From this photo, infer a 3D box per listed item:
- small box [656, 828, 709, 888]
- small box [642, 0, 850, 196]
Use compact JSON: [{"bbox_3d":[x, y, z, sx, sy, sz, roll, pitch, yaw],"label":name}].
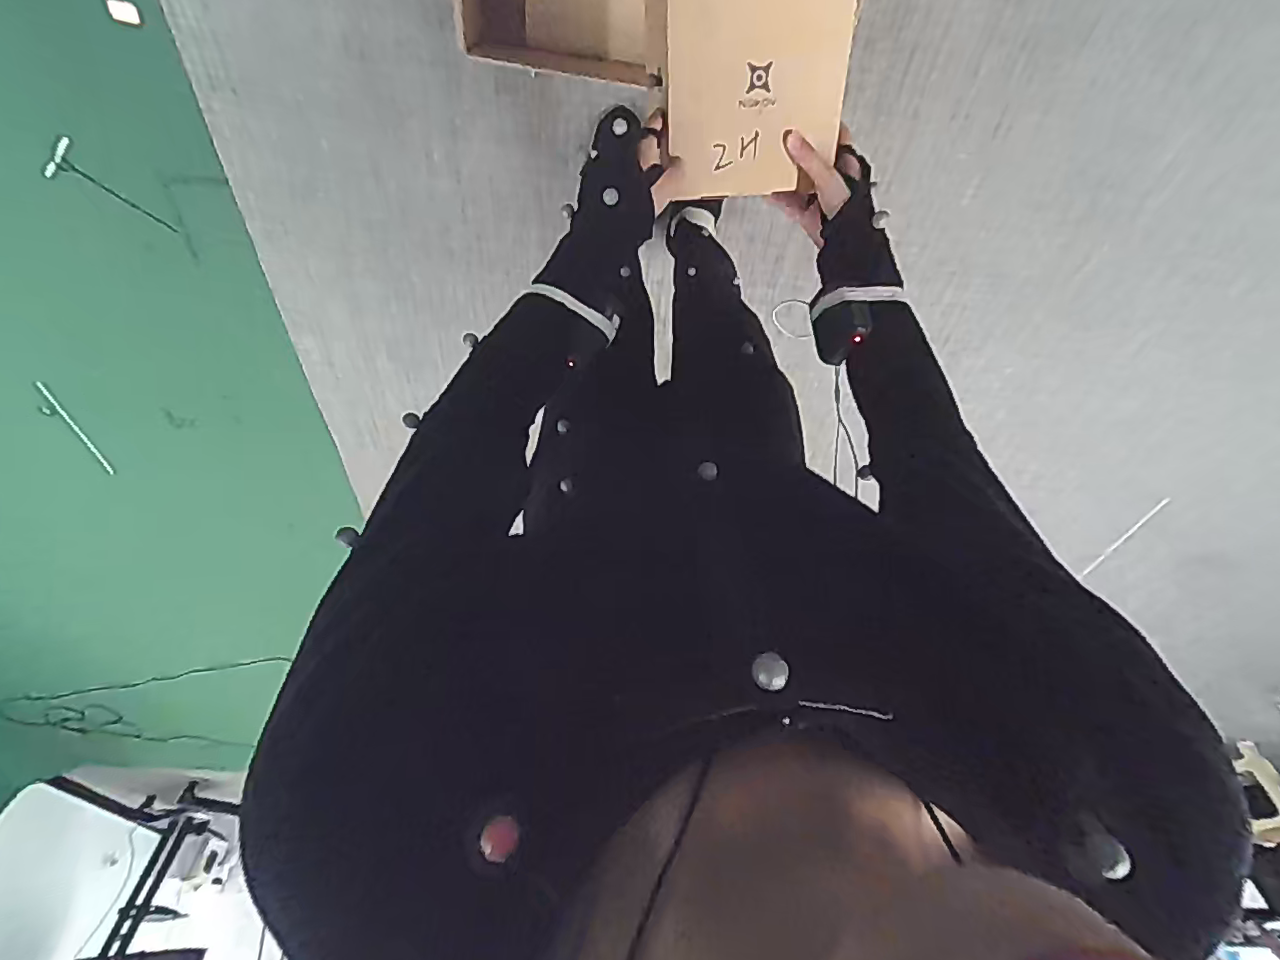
[{"bbox_3d":[0.157,1.436,2.050,0.179,0.176,0.168,4,135,-2],"label":"small box"},{"bbox_3d":[0.092,-0.401,0.553,0.168,0.176,0.179,-4,125,-2],"label":"small box"}]
